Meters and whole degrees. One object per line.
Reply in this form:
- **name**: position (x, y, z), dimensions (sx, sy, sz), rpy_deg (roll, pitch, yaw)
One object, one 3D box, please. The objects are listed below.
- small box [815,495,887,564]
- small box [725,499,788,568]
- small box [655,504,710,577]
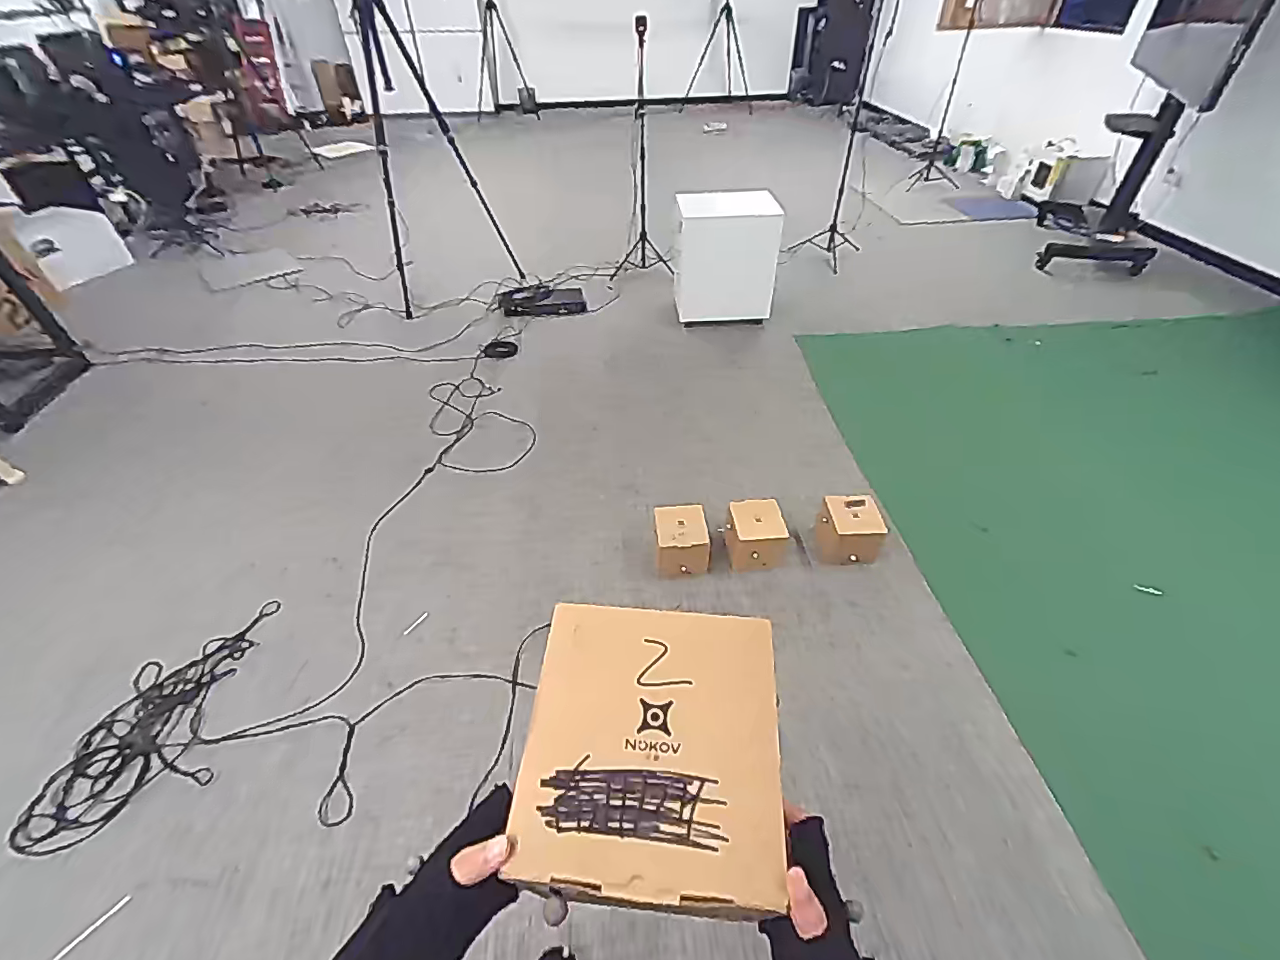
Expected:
- **small box**: position (0.717, 0.170, 1.859), dimensions (0.168, 0.176, 0.179), rpy_deg (-2, 44, 0)
- **small box**: position (0.392, 0.188, 1.848), dimensions (0.168, 0.176, 0.179), rpy_deg (-4, 42, -3)
- **small box**: position (0.138, 0.205, 1.829), dimensions (0.168, 0.176, 0.179), rpy_deg (-4, 44, -2)
